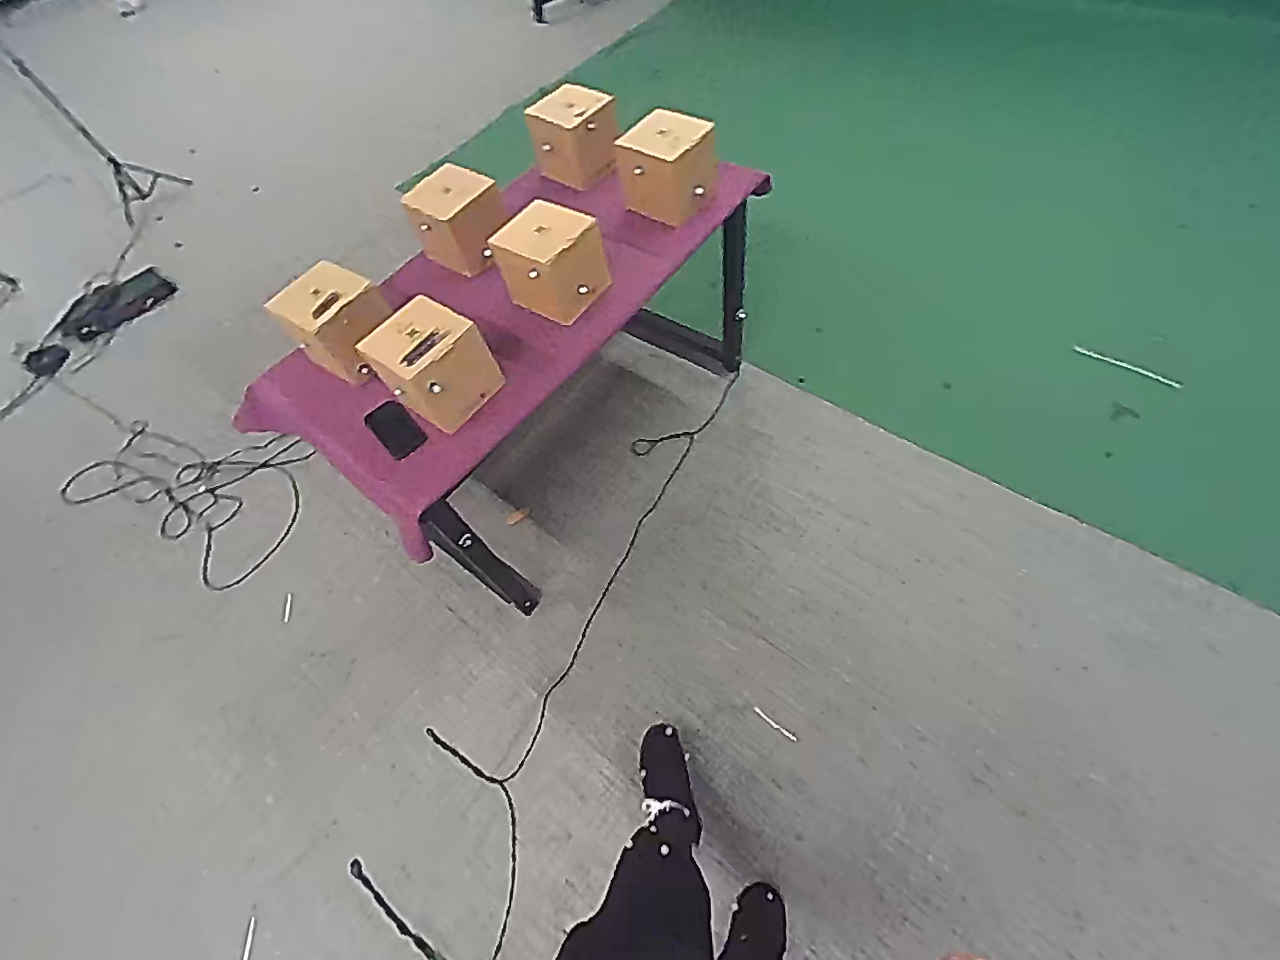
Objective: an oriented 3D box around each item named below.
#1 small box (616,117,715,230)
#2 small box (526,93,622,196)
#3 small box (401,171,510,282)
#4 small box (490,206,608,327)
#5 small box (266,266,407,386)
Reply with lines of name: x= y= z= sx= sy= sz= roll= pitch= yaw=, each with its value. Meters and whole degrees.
small box: x=0.067 y=-0.748 z=1.328 sx=0.179 sy=0.176 sz=0.168 roll=34 pitch=71 yaw=25
small box: x=-0.172 y=-0.905 z=1.465 sx=0.179 sy=0.176 sz=0.168 roll=34 pitch=70 yaw=26
small box: x=-0.441 y=-0.623 z=1.337 sx=0.179 sy=0.176 sz=0.168 roll=31 pitch=69 yaw=23
small box: x=-0.195 y=-0.471 z=1.205 sx=0.179 sy=0.176 sz=0.168 roll=29 pitch=67 yaw=24
small box: x=-0.657 y=-0.333 z=1.192 sx=0.179 sy=0.176 sz=0.168 roll=27 pitch=66 yaw=24
